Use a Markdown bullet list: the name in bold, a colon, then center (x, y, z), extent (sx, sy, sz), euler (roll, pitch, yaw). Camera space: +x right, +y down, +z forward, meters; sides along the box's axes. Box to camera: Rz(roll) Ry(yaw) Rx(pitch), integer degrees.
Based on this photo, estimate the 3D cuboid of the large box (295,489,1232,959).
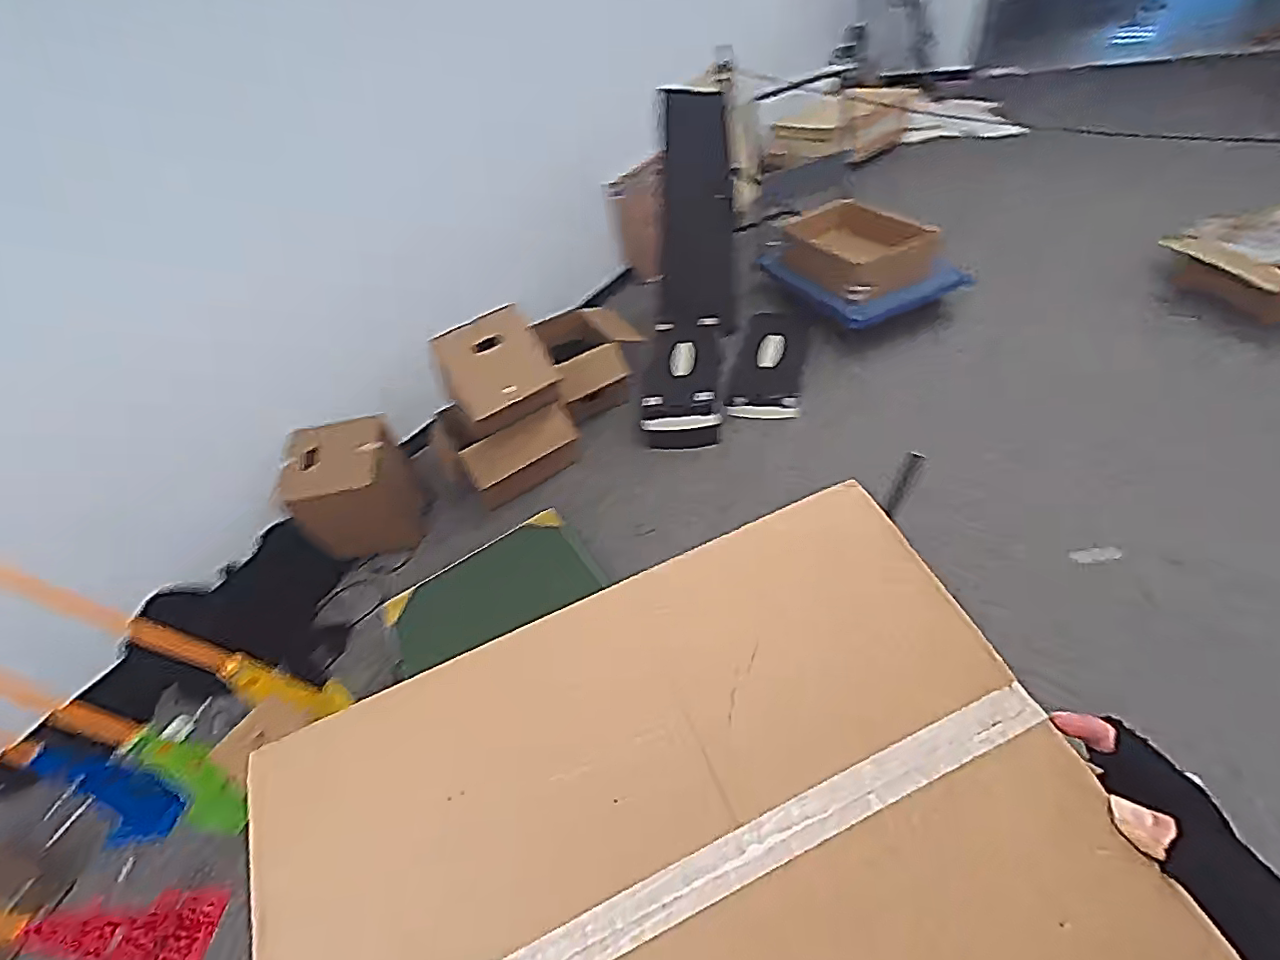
- **large box**: center (0.046, 0.276, 0.396), extent (0.408, 0.320, 0.320), euler (-23, 60, -6)
